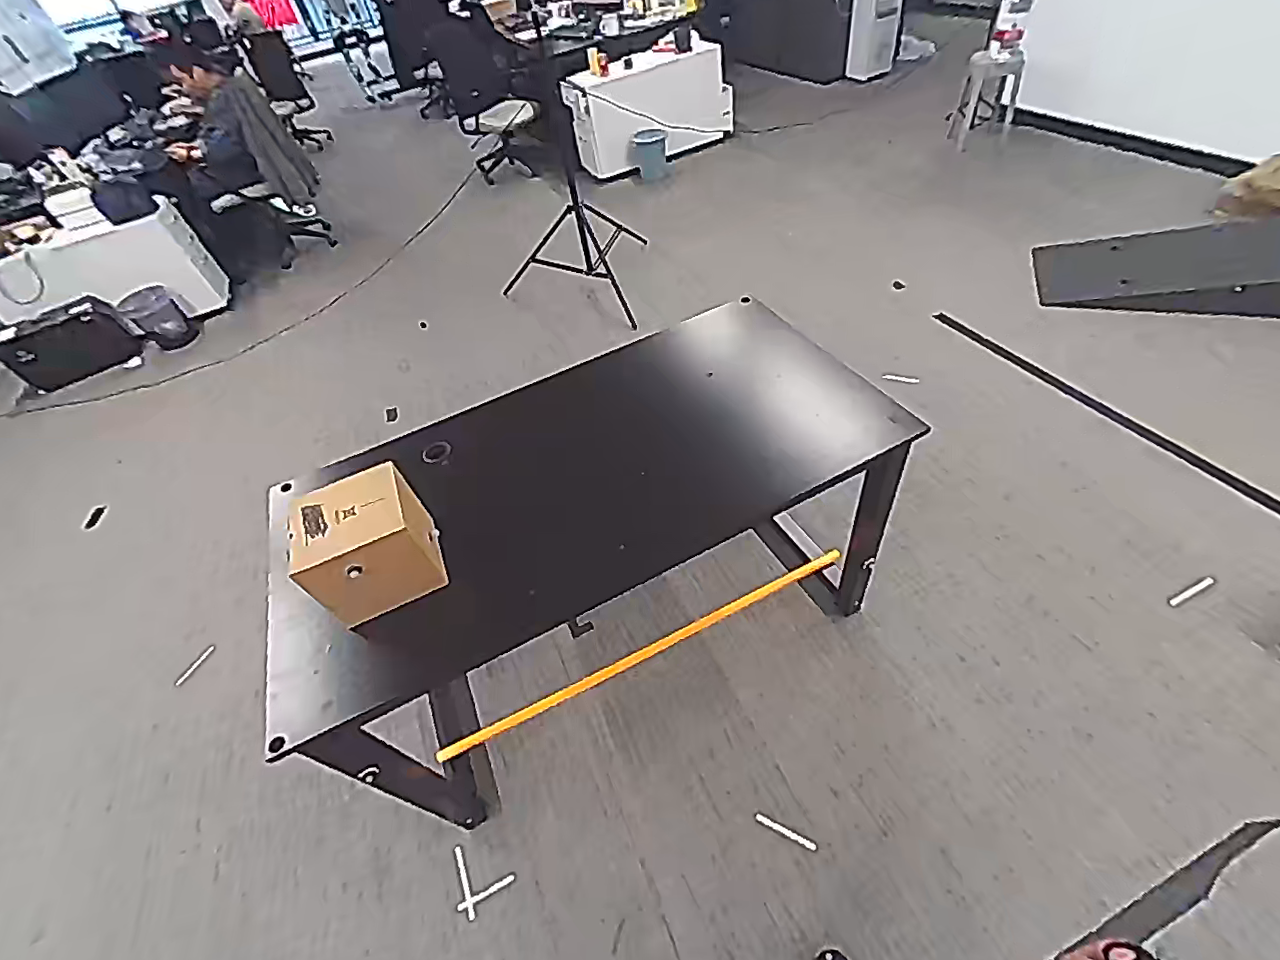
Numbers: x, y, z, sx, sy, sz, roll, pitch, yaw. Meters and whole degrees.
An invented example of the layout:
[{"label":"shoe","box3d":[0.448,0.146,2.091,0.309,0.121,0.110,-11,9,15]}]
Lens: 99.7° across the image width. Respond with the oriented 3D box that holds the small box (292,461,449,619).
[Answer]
[{"label":"small box","box3d":[-0.451,0.105,0.914,0.179,0.176,0.168,-23,49,-11]}]
